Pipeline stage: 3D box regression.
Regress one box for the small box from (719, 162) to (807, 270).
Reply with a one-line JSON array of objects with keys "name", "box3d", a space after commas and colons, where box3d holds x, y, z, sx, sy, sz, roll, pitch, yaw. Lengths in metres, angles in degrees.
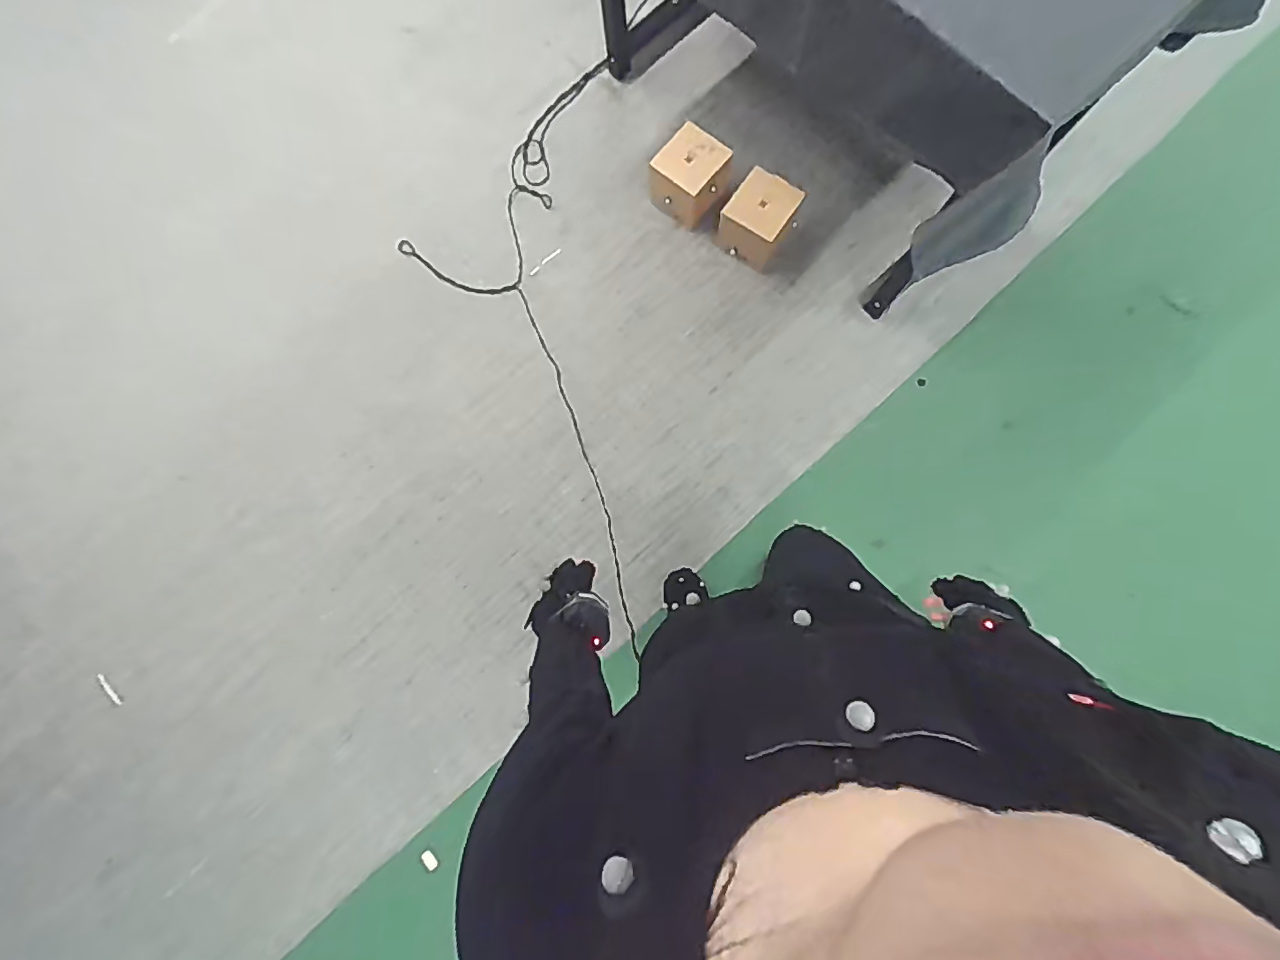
[{"name": "small box", "box3d": [0.339, -0.742, 1.537, 0.168, 0.176, 0.179, 35, 84, 7]}]
